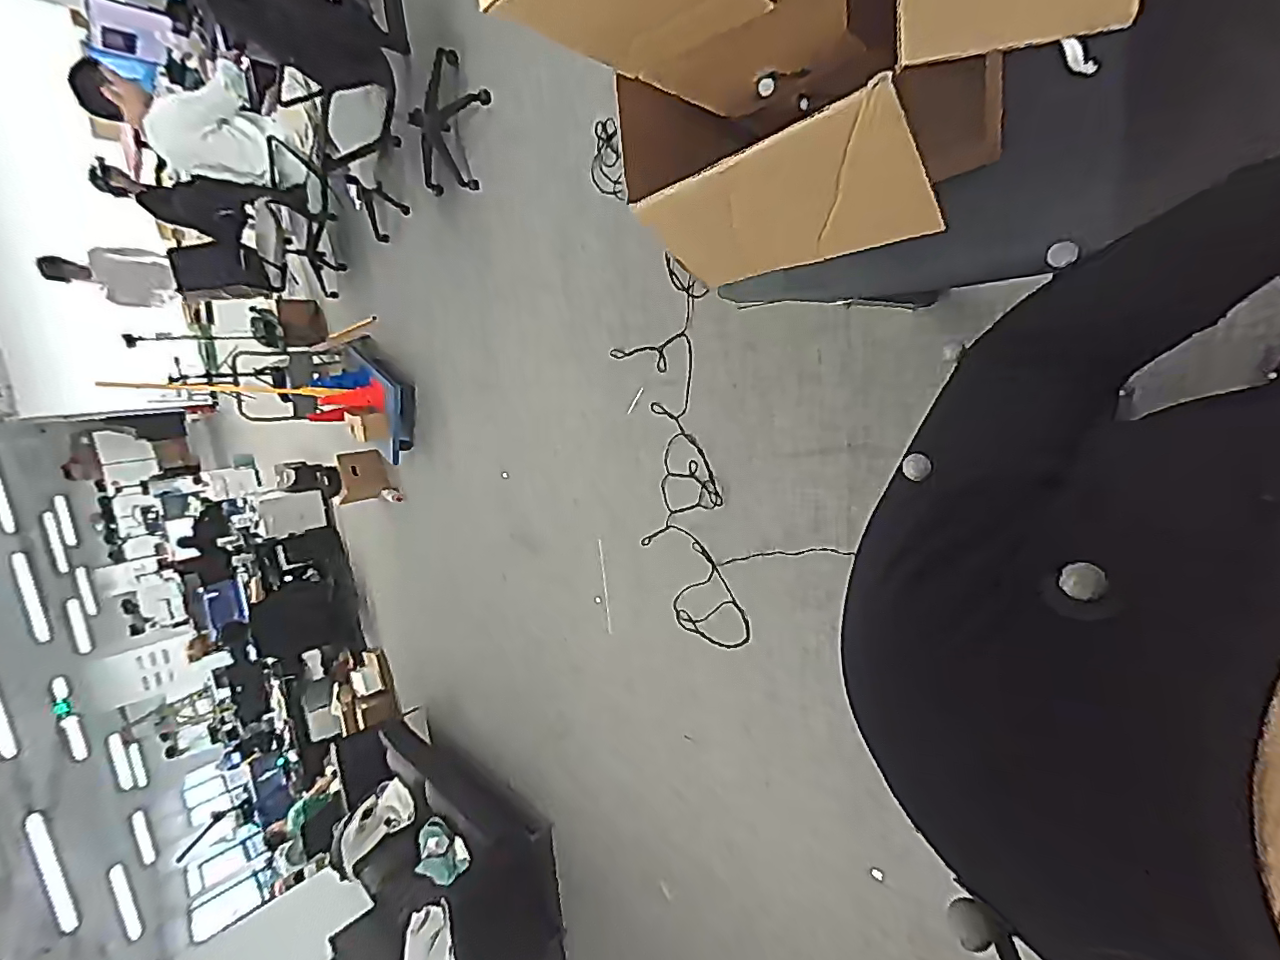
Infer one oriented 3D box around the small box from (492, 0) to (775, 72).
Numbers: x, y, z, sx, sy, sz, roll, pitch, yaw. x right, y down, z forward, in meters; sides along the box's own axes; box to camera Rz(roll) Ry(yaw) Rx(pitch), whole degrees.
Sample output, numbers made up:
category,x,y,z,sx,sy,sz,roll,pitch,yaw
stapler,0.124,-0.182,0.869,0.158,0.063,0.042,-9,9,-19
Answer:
category,x,y,z,sx,sy,sz,roll,pitch,yaw
small box,-0.001,-0.452,0.412,0.179,0.176,0.168,13,110,43
